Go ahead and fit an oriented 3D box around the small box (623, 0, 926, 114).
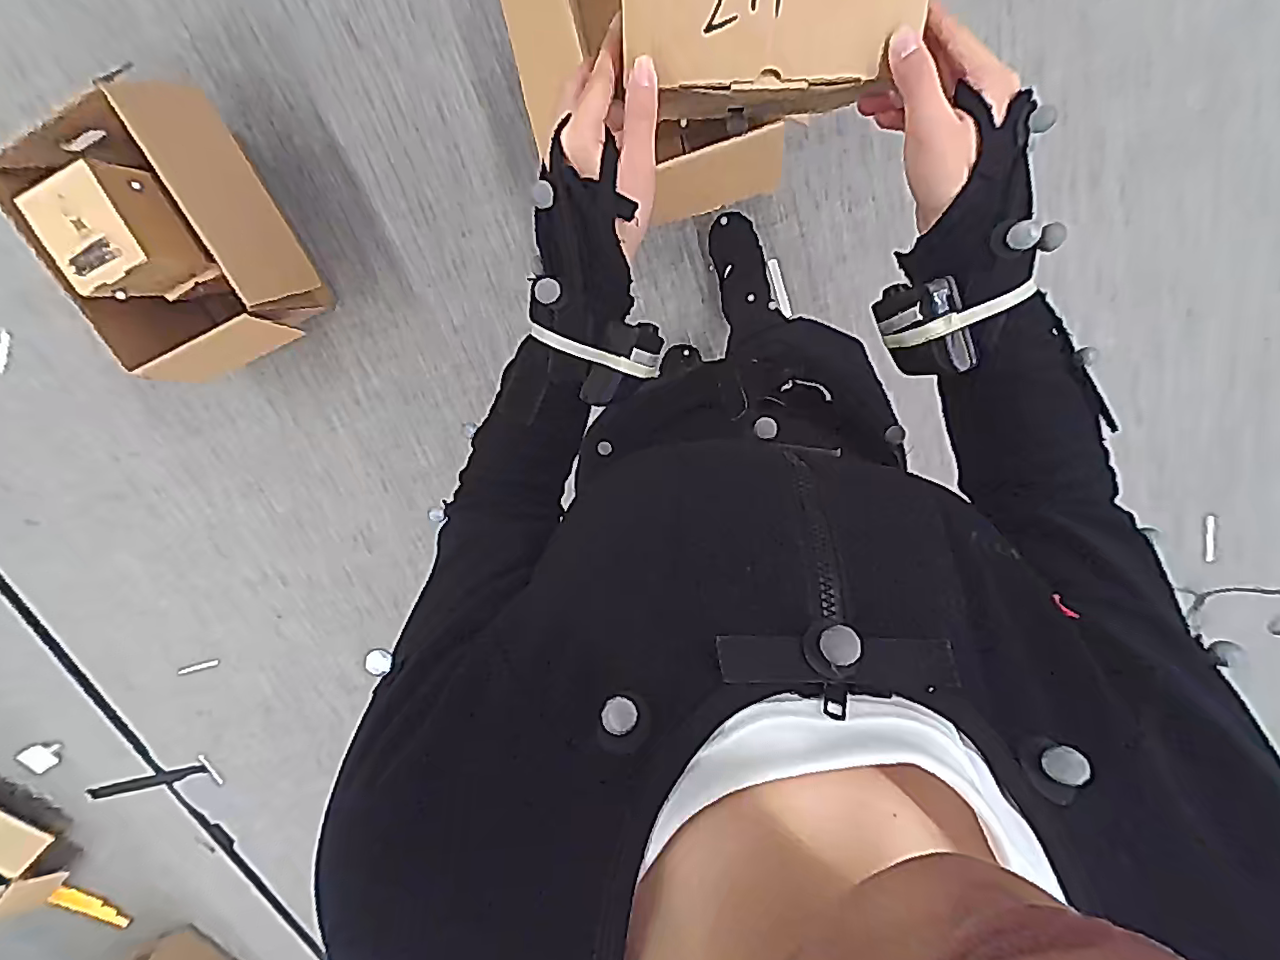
[{"bbox_3d":[0.071,-0.345,0.336,0.168,0.176,0.179,-2,119,1],"label":"small box"}]
